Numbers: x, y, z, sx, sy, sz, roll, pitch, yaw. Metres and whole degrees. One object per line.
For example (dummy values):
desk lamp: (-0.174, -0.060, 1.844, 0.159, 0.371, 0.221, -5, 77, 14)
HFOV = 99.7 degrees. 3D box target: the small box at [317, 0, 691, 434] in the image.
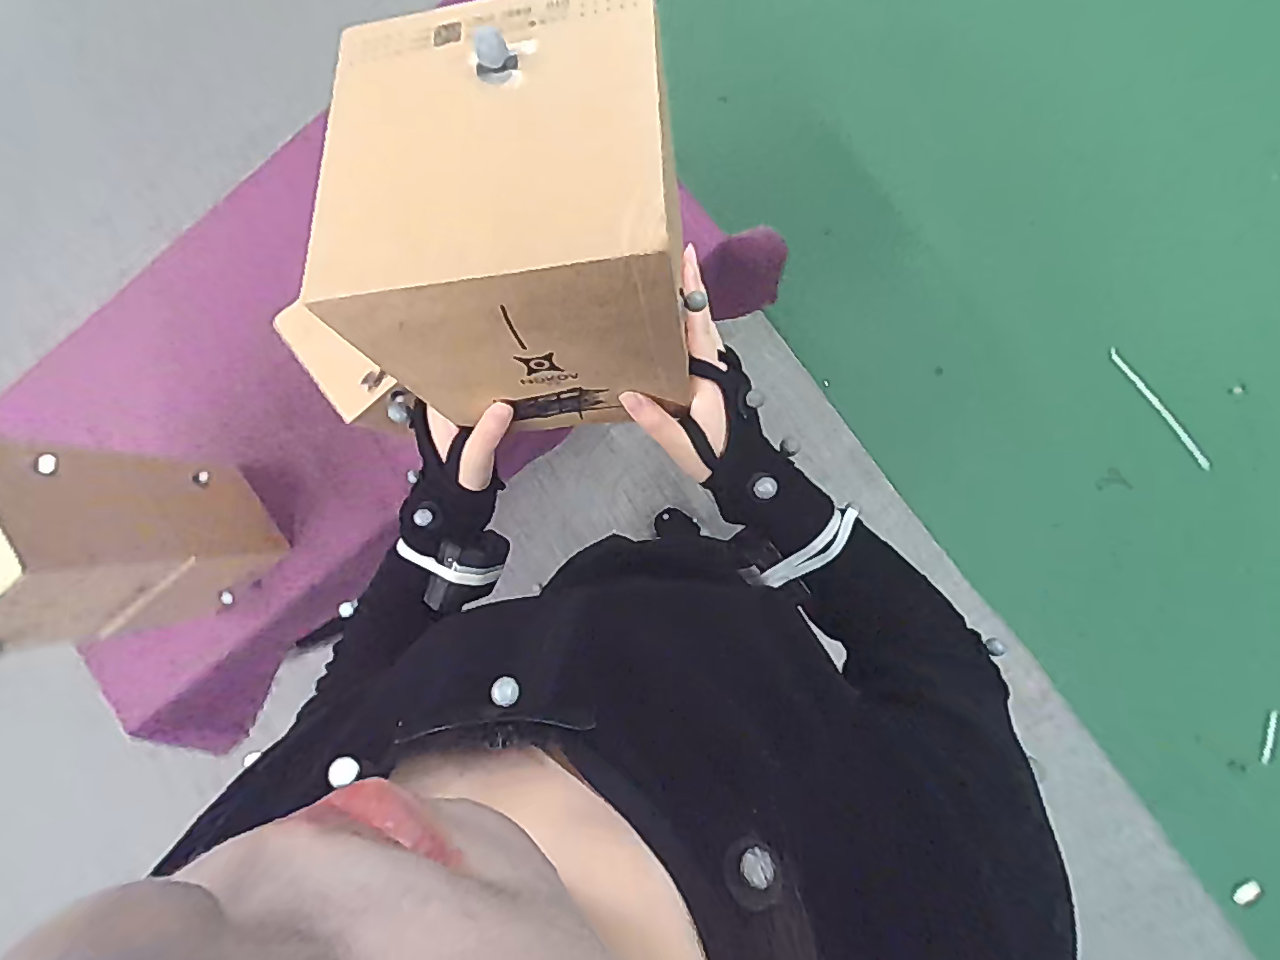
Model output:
small box: (-0.055, -0.140, 0.334, 0.168, 0.179, 0.176, -4, 73, 8)

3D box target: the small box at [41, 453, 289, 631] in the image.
small box: (-0.666, 0.085, 0.779, 0.168, 0.176, 0.179, -38, 85, 3)

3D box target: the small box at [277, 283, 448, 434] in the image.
small box: (-0.343, -0.184, 0.758, 0.168, 0.176, 0.179, -39, 83, 4)
